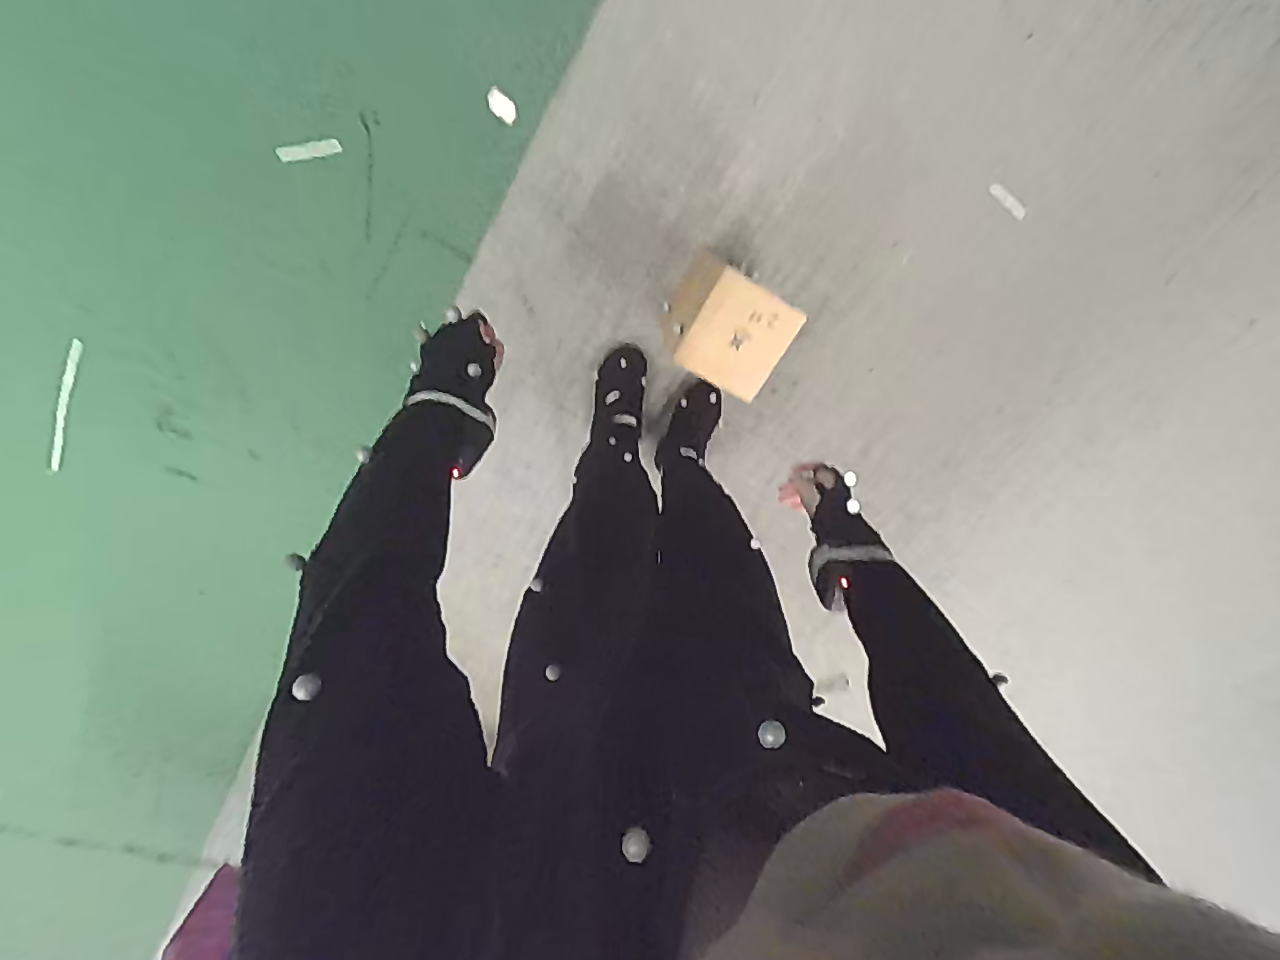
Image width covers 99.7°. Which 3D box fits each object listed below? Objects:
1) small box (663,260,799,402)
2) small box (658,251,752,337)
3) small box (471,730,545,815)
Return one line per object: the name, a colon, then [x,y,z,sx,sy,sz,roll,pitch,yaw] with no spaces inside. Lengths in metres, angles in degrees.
small box: [0.153,-0.277,0.988,0.168,0.176,0.179,26,113,-17]
small box: [0.149,-0.354,1.133,0.168,0.176,0.179,27,112,-17]
small box: [-0.430,0.965,1.792,0.179,0.176,0.168,27,113,-15]
